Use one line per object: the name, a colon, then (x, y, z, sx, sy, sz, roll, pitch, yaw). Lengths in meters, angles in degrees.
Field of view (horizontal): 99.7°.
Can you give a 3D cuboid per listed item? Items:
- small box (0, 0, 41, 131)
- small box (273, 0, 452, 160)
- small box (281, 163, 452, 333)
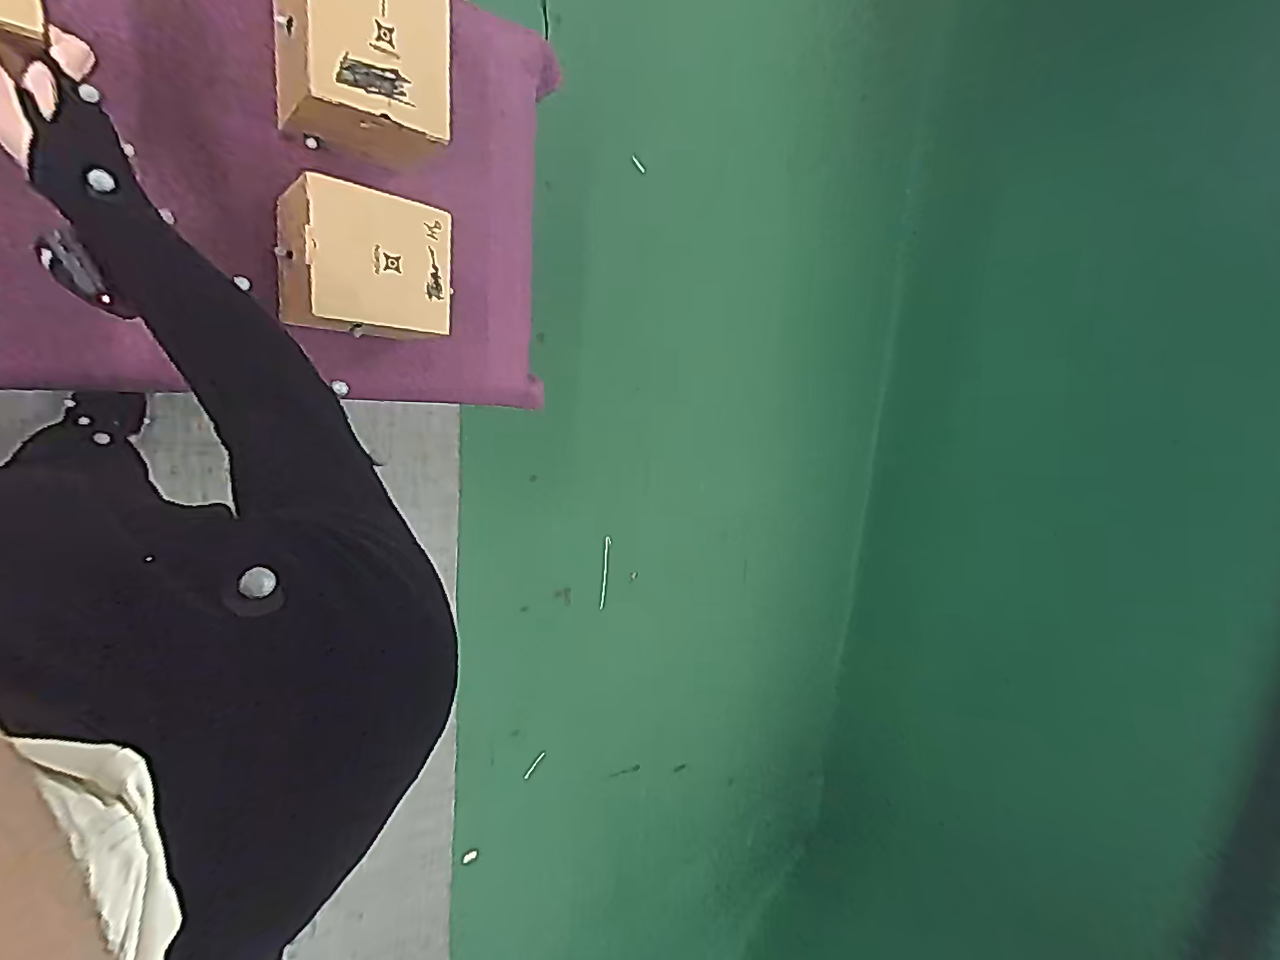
small box: (-0.606, -0.415, 0.422, 0.179, 0.176, 0.168, -8, 90, -45)
small box: (-0.356, -0.542, 0.692, 0.168, 0.176, 0.179, -6, 104, -43)
small box: (-0.376, -0.295, 0.736, 0.179, 0.176, 0.168, -3, 102, -43)
